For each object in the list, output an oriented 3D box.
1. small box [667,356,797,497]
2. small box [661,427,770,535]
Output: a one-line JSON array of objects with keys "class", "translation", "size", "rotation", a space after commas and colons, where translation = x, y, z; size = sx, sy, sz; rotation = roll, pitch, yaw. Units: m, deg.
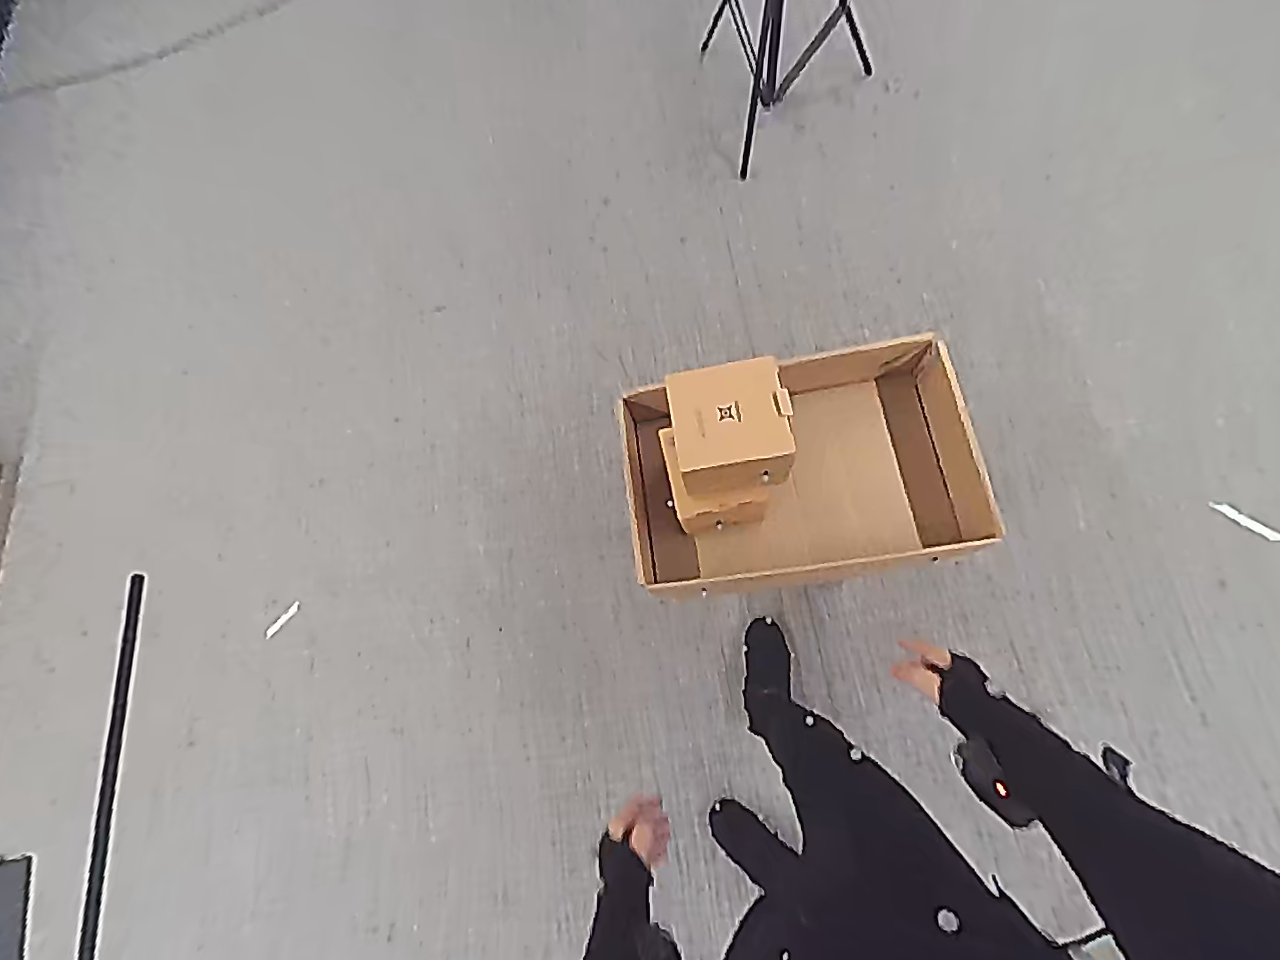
[{"class": "small box", "translation": [0.147, -0.080, 0.893], "size": [0.179, 0.176, 0.168], "rotation": [-9, 72, 6]}, {"class": "small box", "translation": [0.144, -0.007, 1.045], "size": [0.168, 0.176, 0.179], "rotation": [-14, 72, 5]}]
